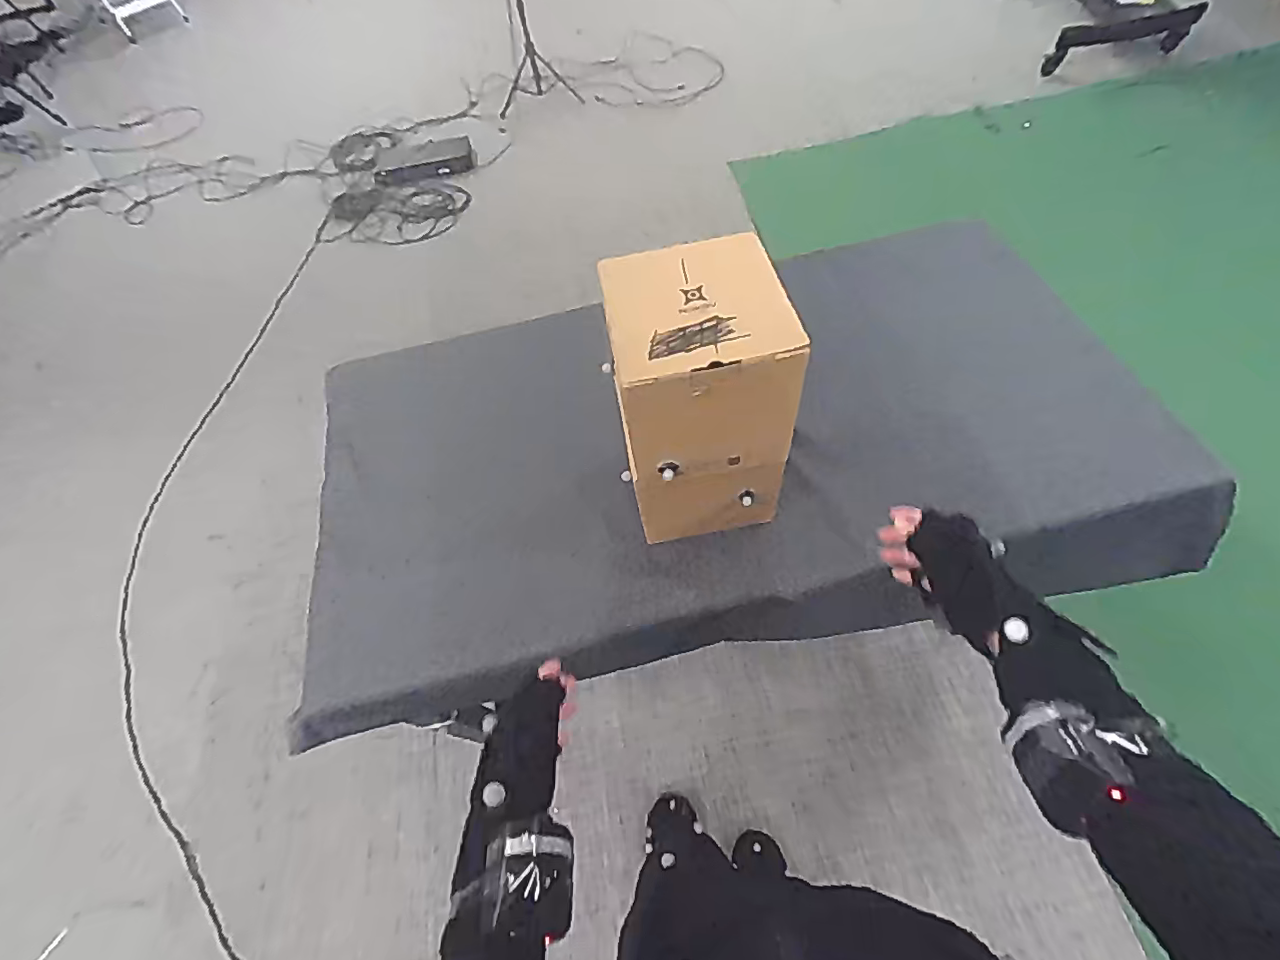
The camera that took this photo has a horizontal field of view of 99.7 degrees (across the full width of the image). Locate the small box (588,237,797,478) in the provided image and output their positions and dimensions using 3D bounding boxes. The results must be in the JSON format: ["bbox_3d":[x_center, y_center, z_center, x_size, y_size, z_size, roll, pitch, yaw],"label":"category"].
[{"bbox_3d":[0.052,-0.119,0.577,0.168,0.176,0.179,-14,58,-2],"label":"small box"}]

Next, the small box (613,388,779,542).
[{"bbox_3d":[0.069,-0.037,0.718,0.179,0.176,0.168,-12,57,1],"label":"small box"}]
